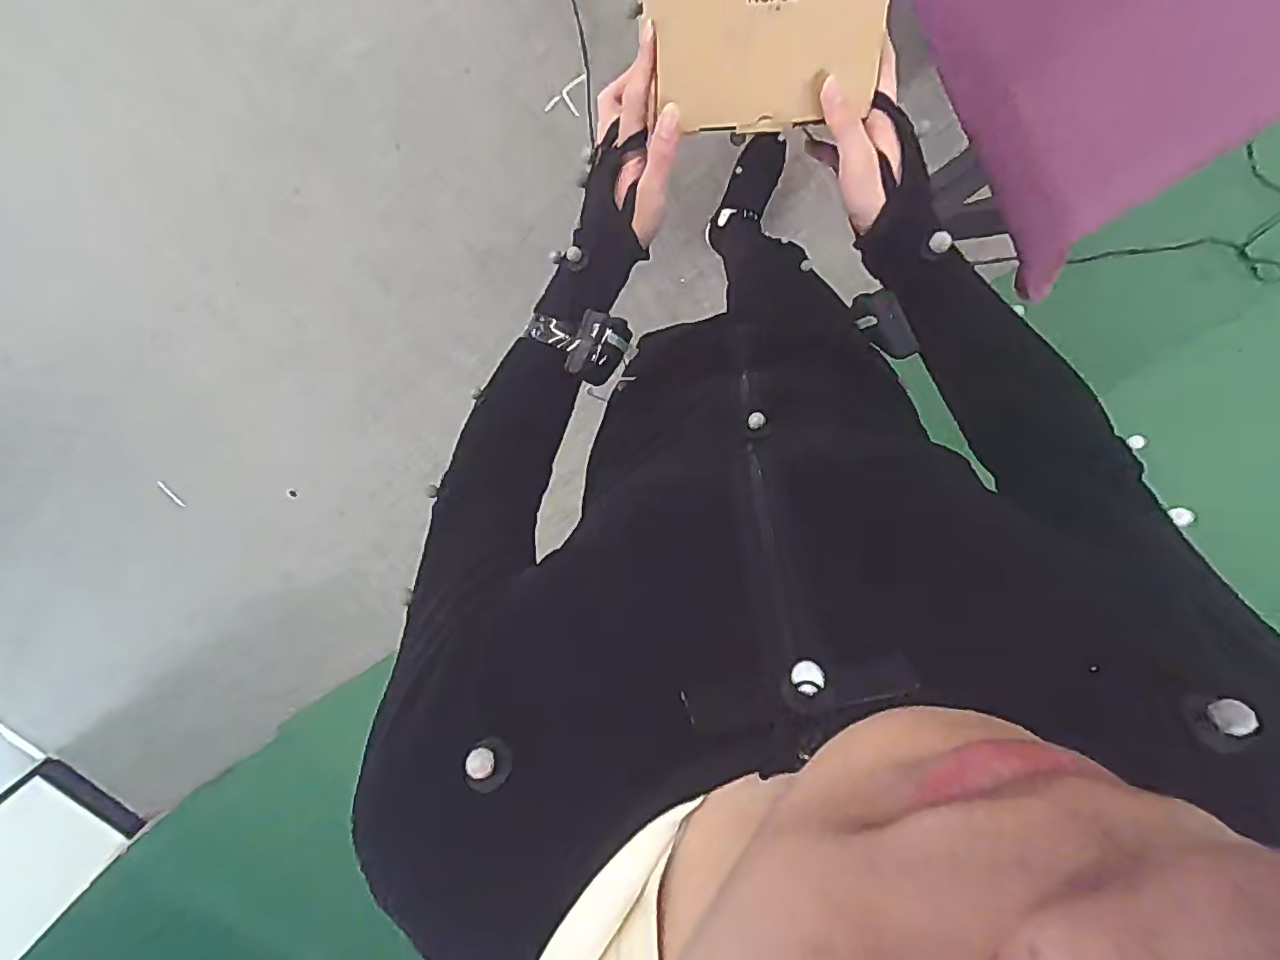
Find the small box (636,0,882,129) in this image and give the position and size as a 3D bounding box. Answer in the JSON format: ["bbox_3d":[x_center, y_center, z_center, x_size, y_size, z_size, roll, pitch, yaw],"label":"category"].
[{"bbox_3d":[0.084,-0.394,0.429,0.168,0.176,0.179,-5,126,-1],"label":"small box"}]
